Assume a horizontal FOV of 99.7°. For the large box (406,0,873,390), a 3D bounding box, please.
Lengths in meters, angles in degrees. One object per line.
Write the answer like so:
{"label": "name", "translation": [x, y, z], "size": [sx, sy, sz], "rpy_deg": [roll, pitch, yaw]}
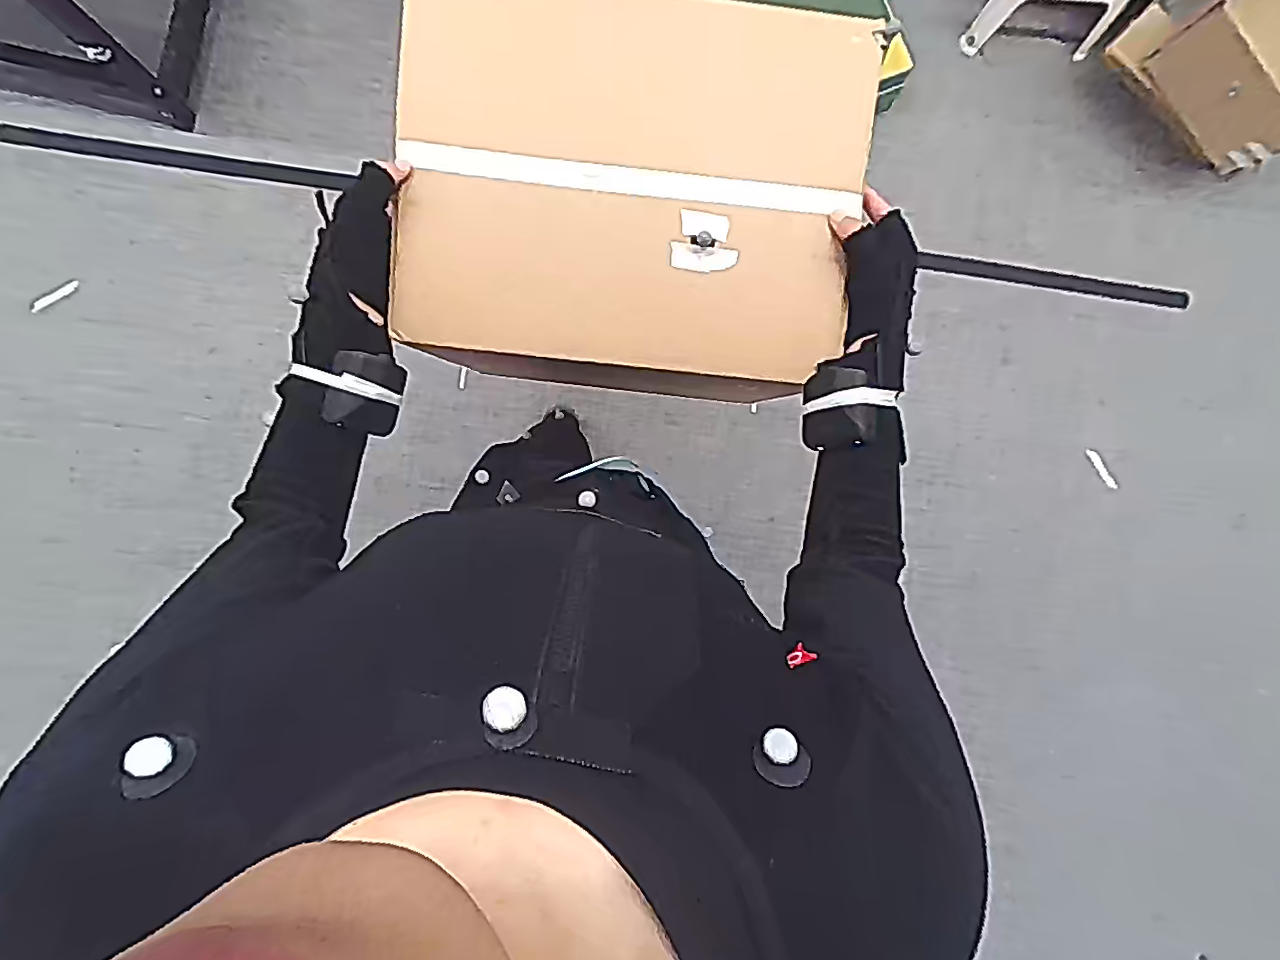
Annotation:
{"label": "large box", "translation": [-0.011, -0.286, 0.631], "size": [0.408, 0.320, 0.320], "rpy_deg": [6, 97, -3]}
